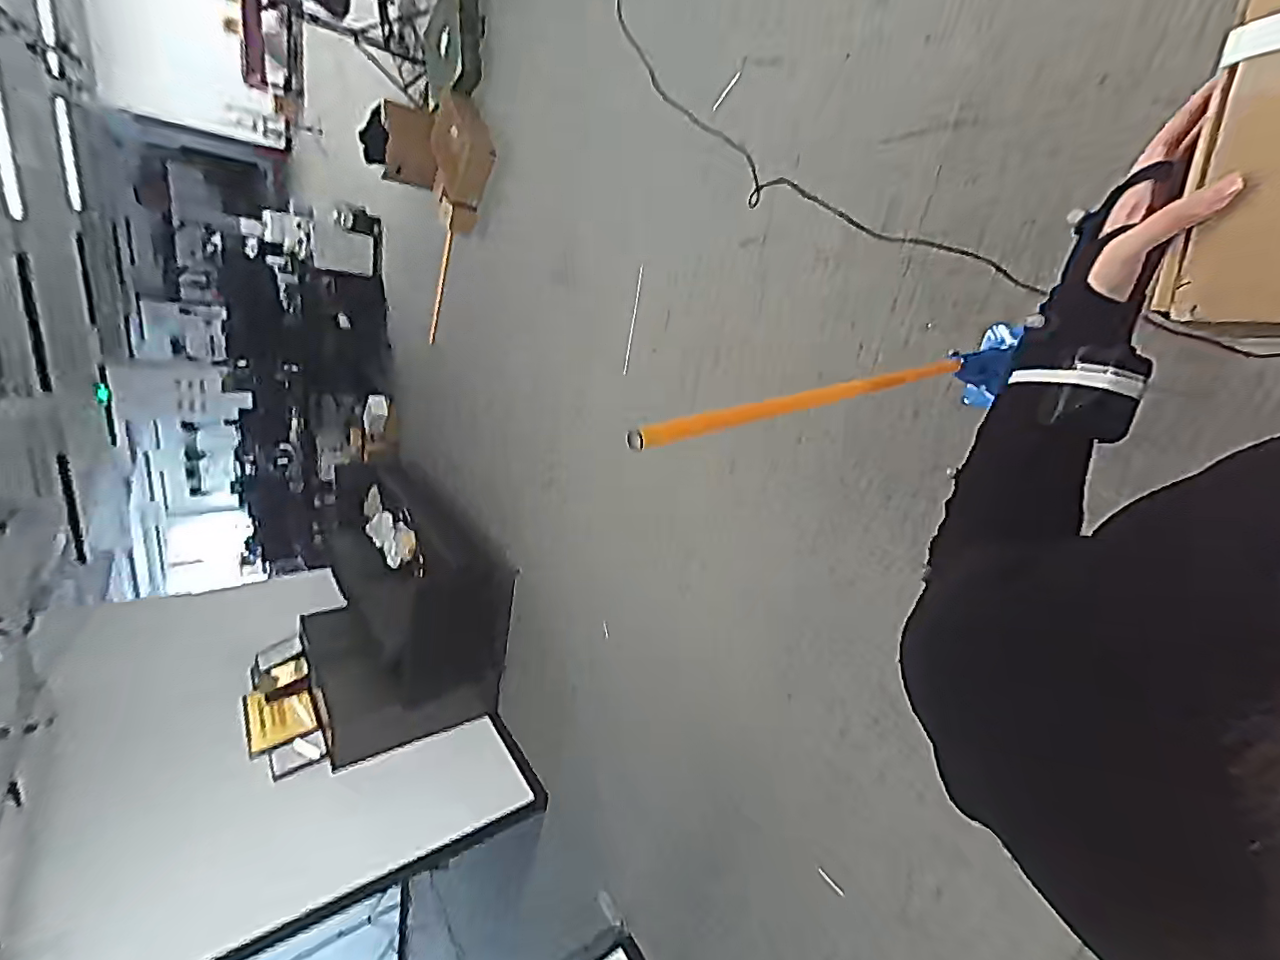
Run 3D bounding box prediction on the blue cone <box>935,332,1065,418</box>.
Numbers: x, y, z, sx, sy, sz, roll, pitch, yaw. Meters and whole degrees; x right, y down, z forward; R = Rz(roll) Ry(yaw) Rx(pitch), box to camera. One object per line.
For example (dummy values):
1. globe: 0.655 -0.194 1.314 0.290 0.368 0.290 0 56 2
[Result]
1. blue cone: 0.763 -0.236 1.195 0.192 0.380 0.193 29 118 46
